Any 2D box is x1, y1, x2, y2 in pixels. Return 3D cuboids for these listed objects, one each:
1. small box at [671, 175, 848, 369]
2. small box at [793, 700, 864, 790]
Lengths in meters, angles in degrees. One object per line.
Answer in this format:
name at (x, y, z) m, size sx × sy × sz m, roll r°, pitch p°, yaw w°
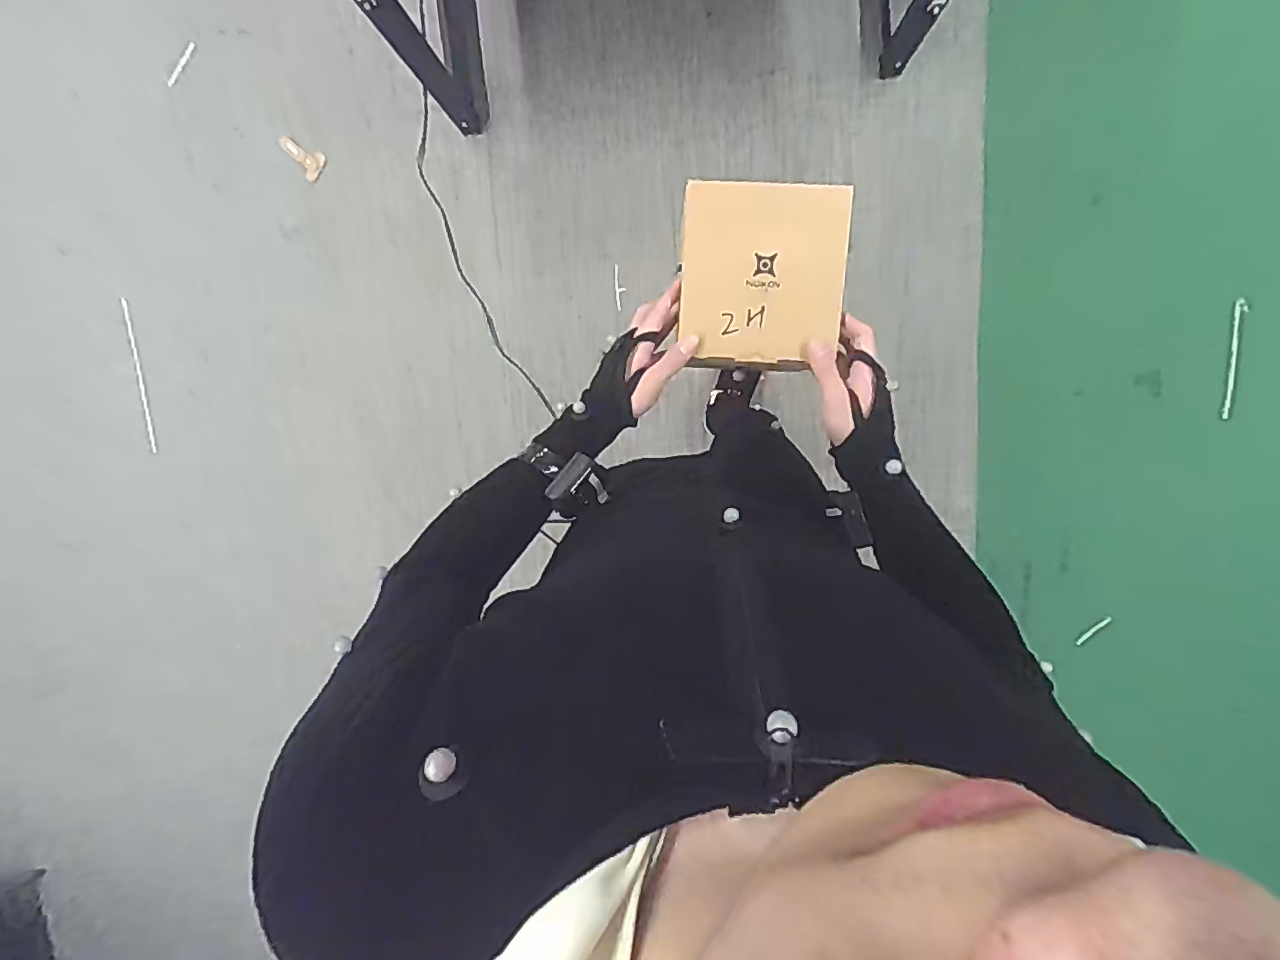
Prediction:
small box at (0.124, -0.226, 0.628) m, size 0.168 × 0.176 × 0.179 m, roll 4°, pitch 100°, yaw 3°
small box at (0.550, 0.776, 1.594) m, size 0.168 × 0.176 × 0.179 m, roll -2°, pitch 99°, yaw 5°
